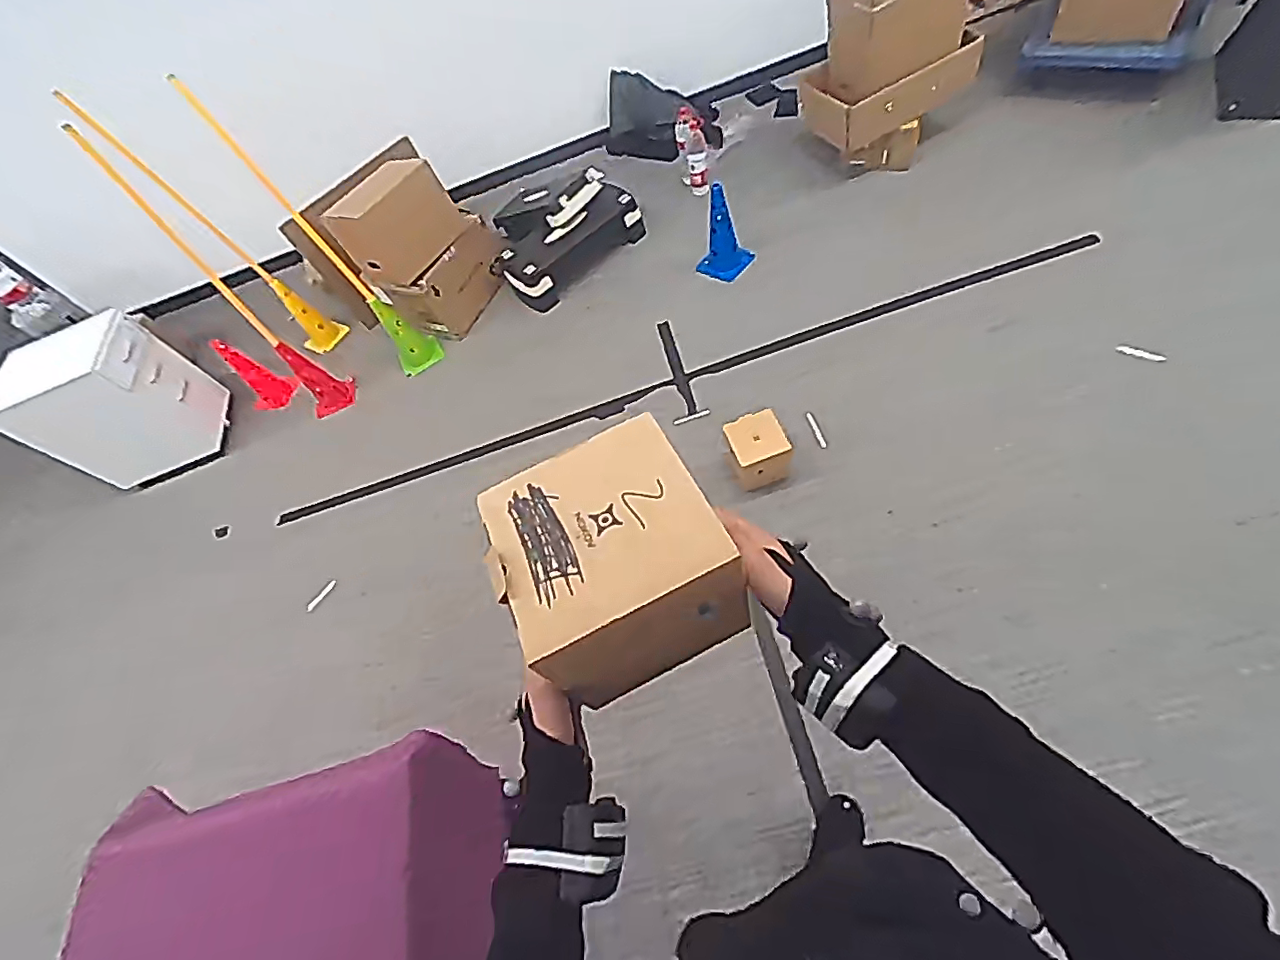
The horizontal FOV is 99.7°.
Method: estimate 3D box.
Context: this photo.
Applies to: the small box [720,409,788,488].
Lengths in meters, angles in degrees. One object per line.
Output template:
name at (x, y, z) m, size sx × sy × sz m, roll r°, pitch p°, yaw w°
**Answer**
small box at (0.376, -0.092, 1.764) m, size 0.168 × 0.176 × 0.179 m, roll -21°, pitch 56°, yaw 3°
